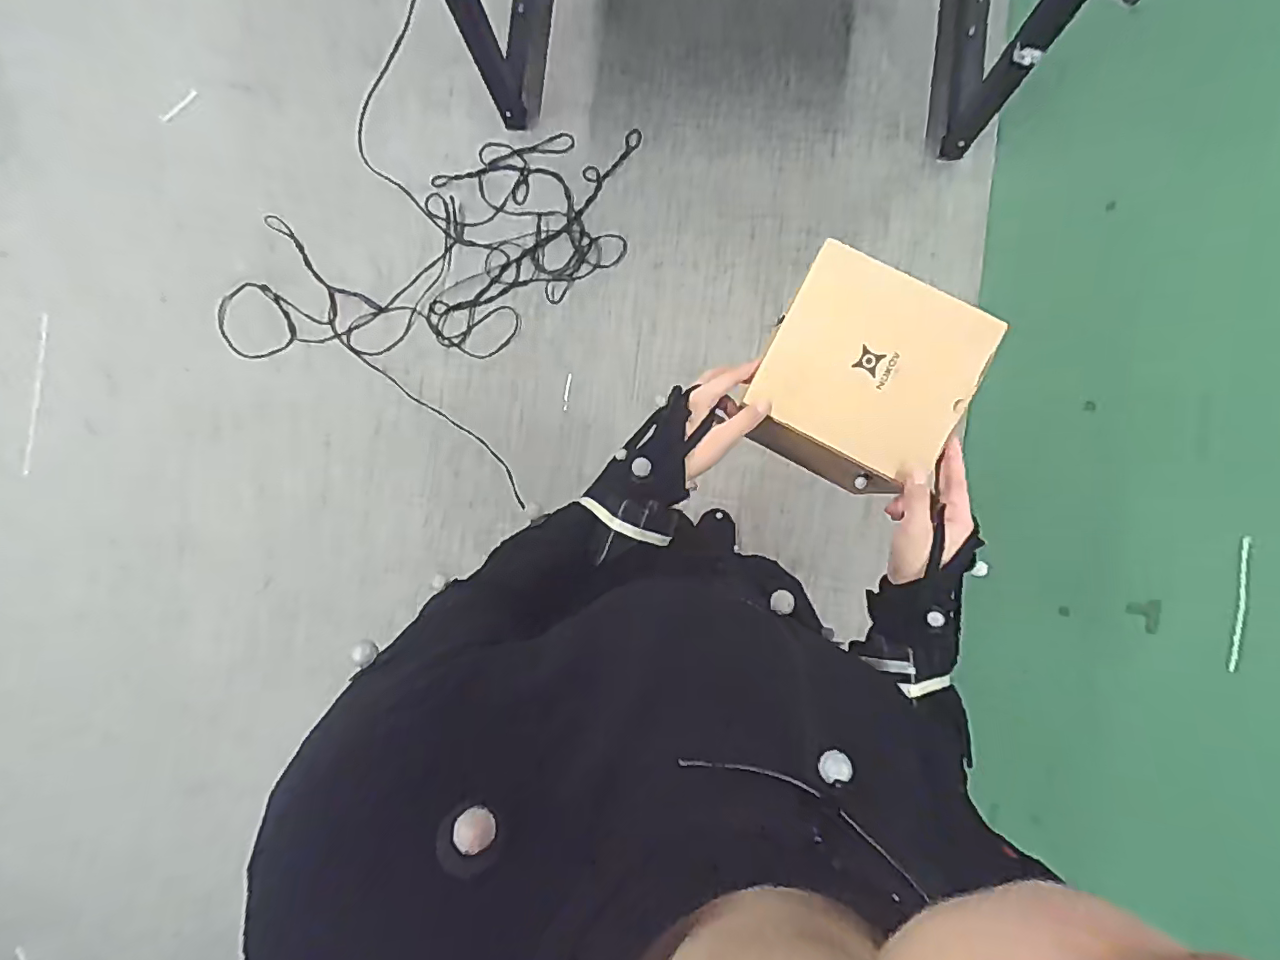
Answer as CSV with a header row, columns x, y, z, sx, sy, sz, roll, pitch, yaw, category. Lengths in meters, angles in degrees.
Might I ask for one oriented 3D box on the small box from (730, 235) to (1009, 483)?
x,y,z,sx,sy,sz,roll,pitch,yaw,category
0.206,-0.102,0.545,0.179,0.176,0.168,27,90,3,small box
